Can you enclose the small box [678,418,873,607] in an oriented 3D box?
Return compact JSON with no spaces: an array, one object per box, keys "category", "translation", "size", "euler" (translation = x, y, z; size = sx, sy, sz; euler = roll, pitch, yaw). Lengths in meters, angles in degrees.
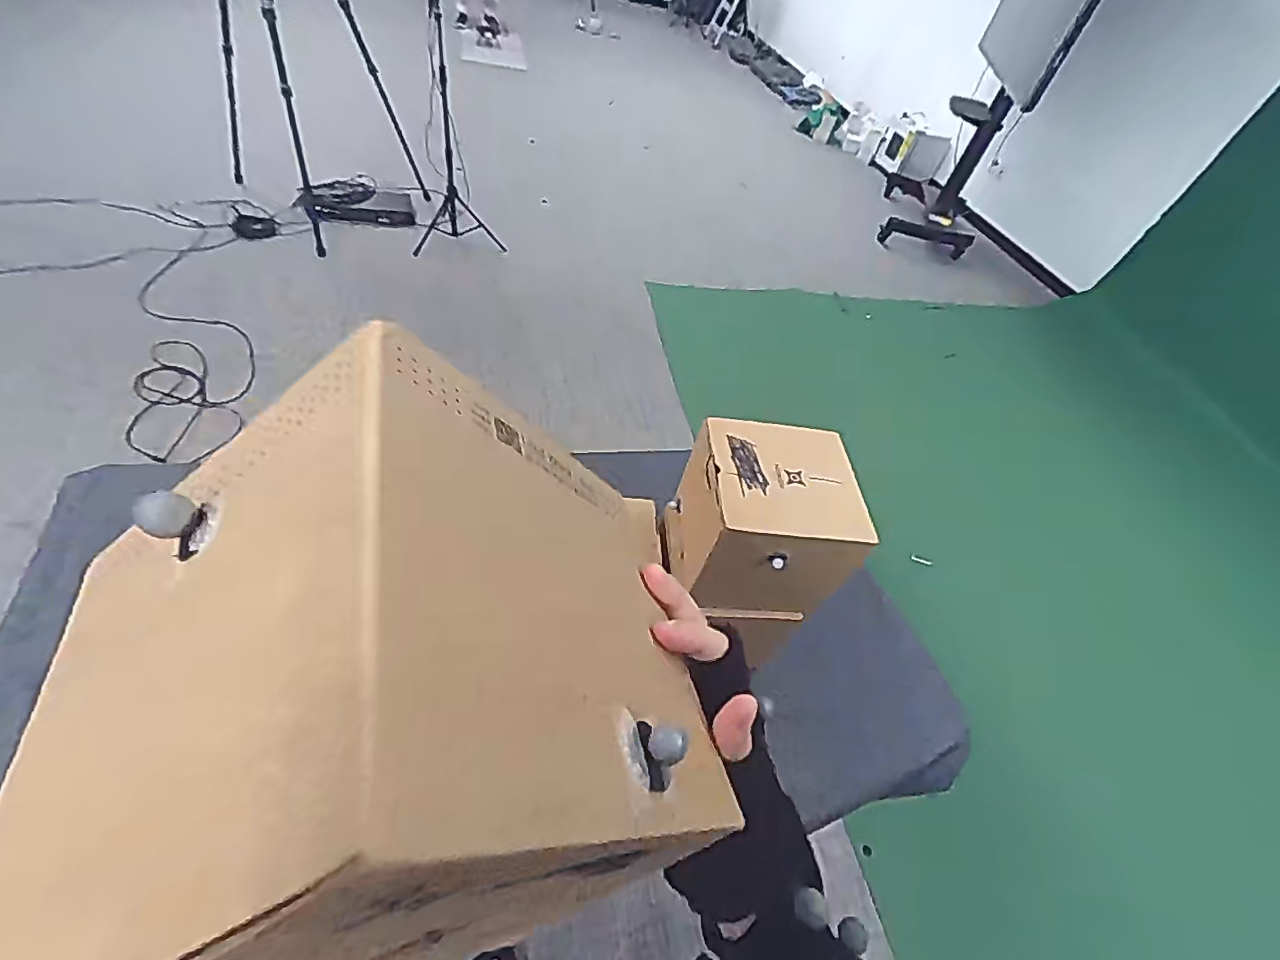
[{"category":"small box","translation":[0.148,0.046,0.673],"size":[0.179,0.176,0.168],"euler":[5,50,-10]}]
